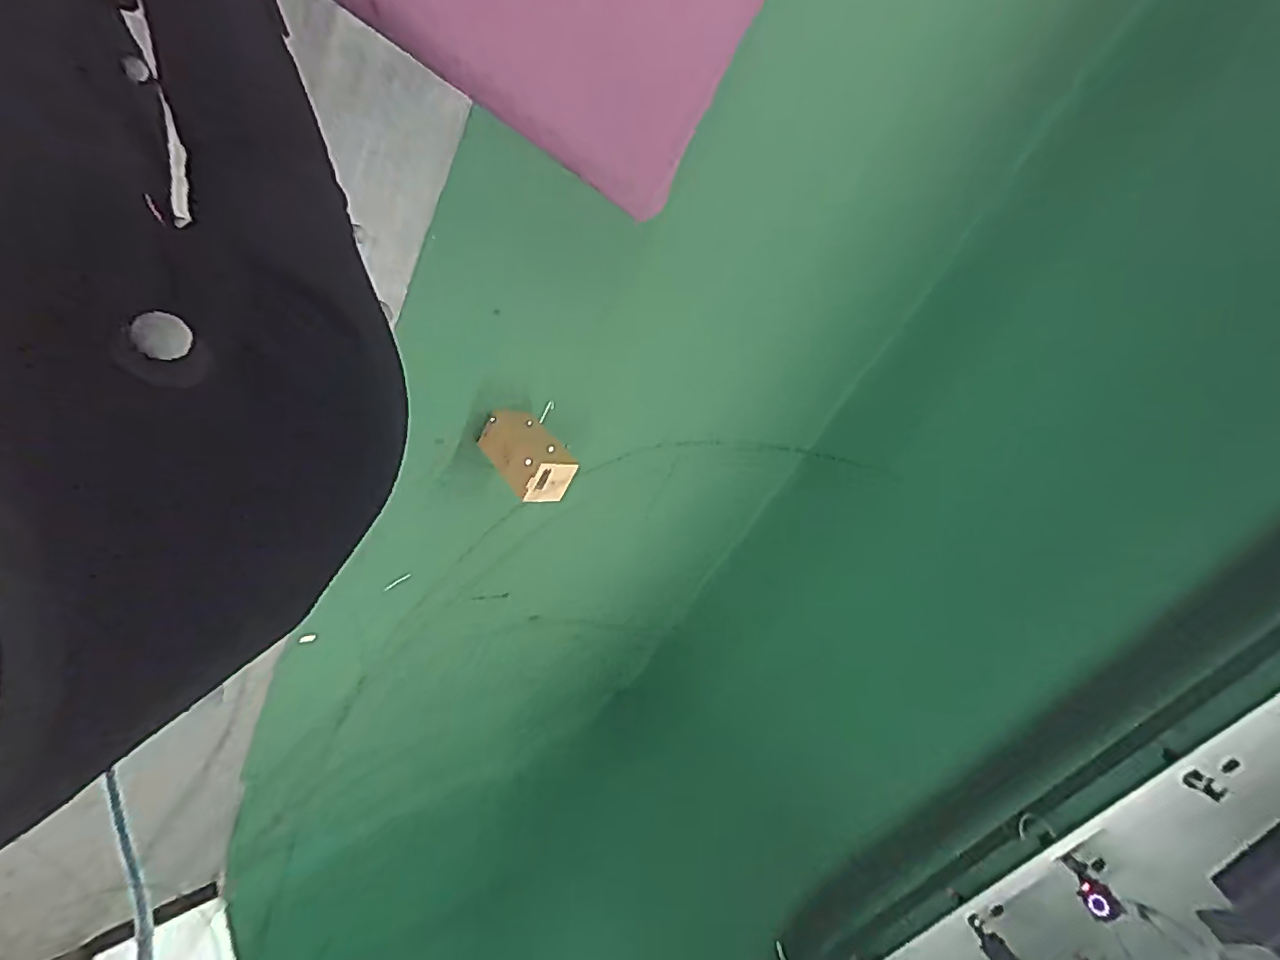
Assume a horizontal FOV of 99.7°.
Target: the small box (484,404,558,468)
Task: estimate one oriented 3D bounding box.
[{"bbox_3d":[-0.442,-0.162,1.981,0.179,0.176,0.168,1,128,-51],"label":"small box"}]
